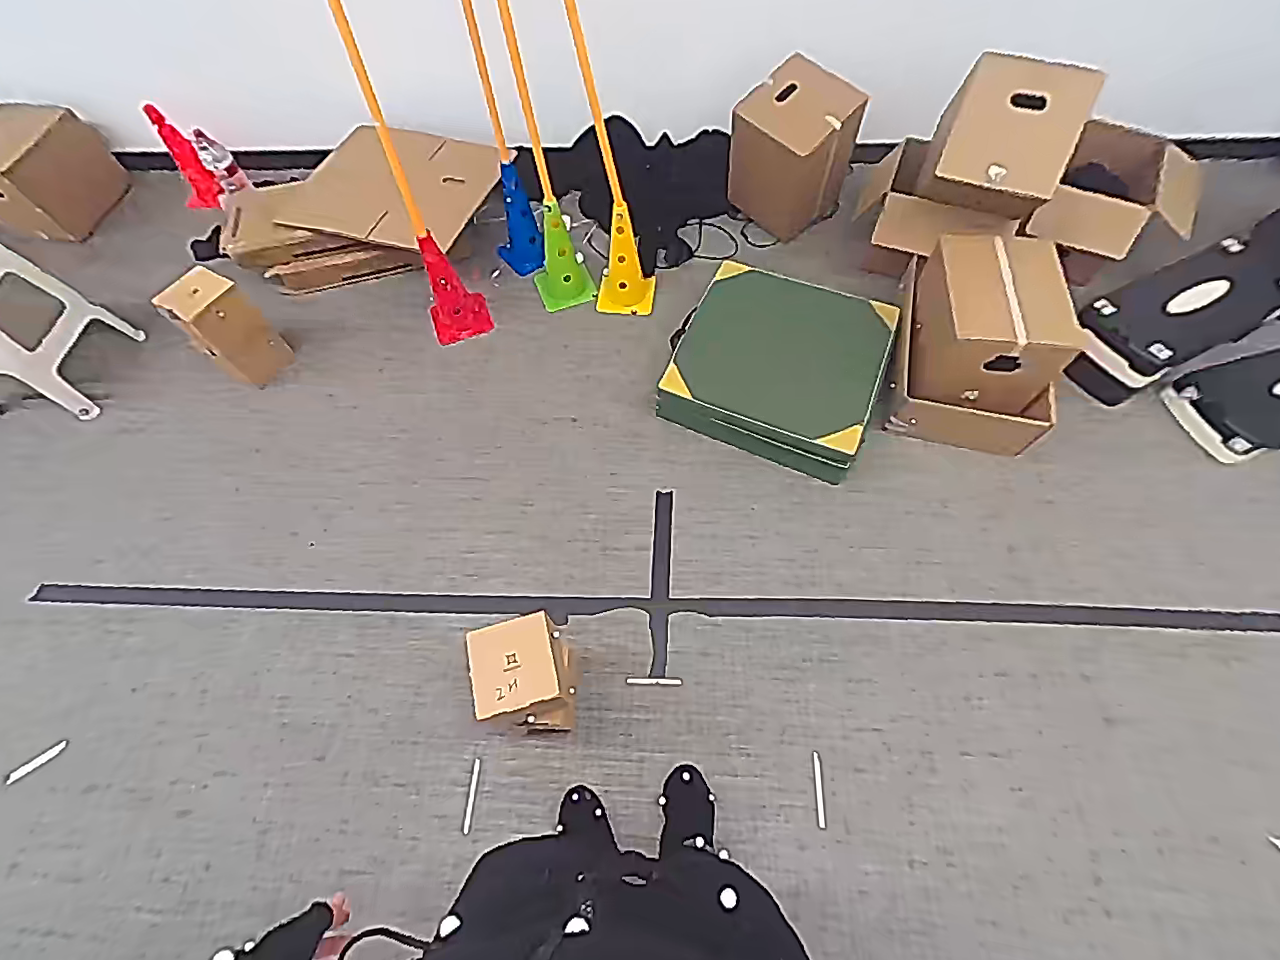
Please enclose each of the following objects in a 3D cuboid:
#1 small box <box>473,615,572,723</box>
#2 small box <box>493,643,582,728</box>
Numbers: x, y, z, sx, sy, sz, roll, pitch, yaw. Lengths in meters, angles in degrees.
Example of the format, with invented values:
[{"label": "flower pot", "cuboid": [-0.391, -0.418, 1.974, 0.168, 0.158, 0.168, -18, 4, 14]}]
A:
[{"label": "small box", "cuboid": [-0.246, 0.405, 1.149, 0.168, 0.176, 0.179, -12, 64, -2]}, {"label": "small box", "cuboid": [-0.235, 0.492, 1.289, 0.168, 0.176, 0.179, 0, 61, 3]}]
